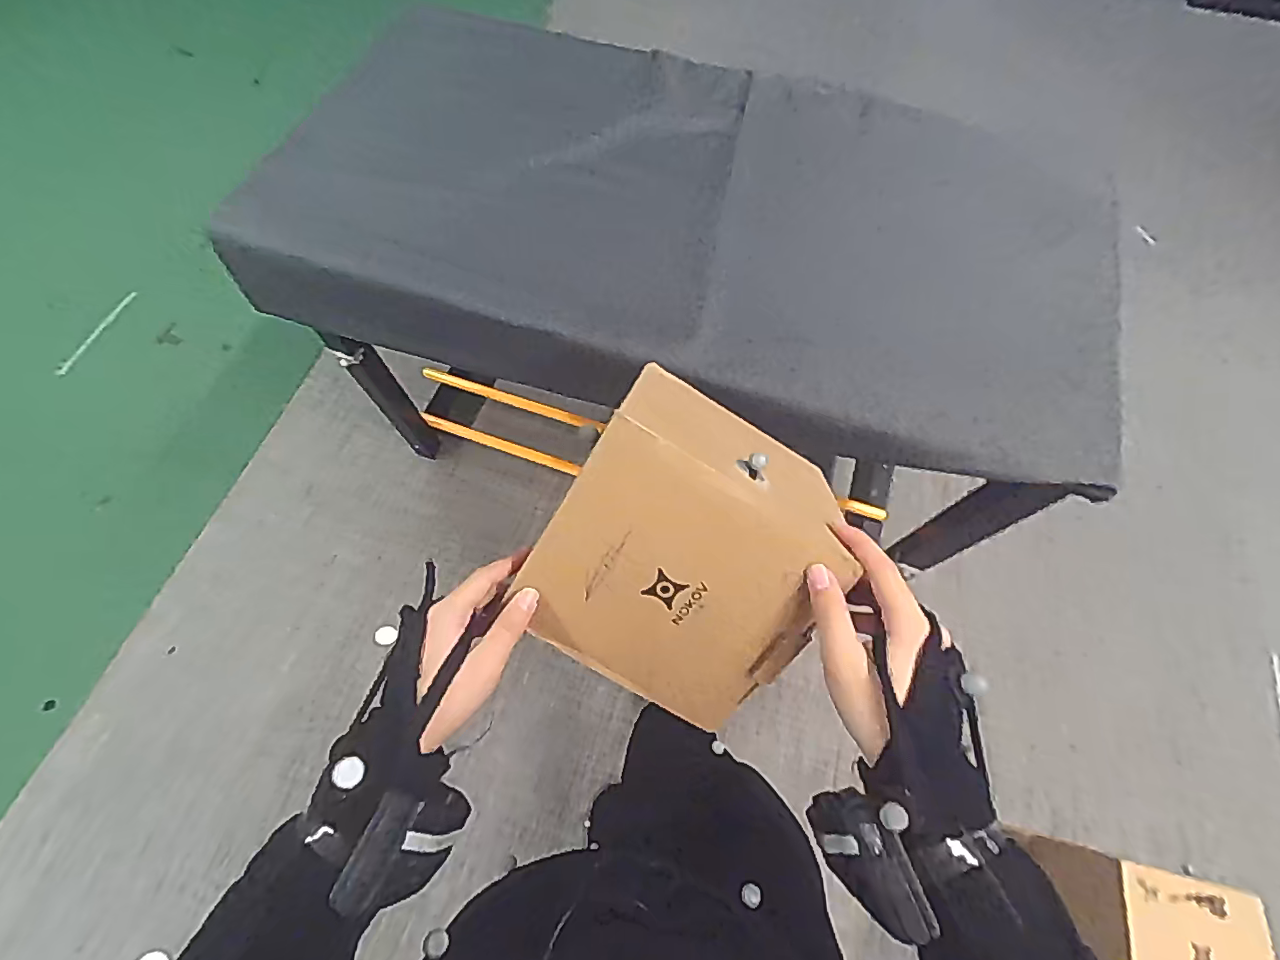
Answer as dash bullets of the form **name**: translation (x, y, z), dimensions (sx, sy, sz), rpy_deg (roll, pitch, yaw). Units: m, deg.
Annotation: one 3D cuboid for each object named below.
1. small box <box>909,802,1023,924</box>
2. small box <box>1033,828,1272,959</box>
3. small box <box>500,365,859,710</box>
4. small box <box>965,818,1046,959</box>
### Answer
- **small box**: translation (0.629, 0.717, 1.005), dimensions (0.179, 0.176, 0.168), rpy_deg (12, 66, 5)
- **small box**: translation (0.650, 0.588, 0.704), dimensions (0.168, 0.176, 0.179), rpy_deg (13, 67, 5)
- **small box**: translation (0.028, 0.029, 0.417), dimensions (0.179, 0.176, 0.168), rpy_deg (31, 111, -6)
- **small box**: translation (0.643, 0.654, 0.854), dimensions (0.179, 0.176, 0.168), rpy_deg (13, 67, 4)
